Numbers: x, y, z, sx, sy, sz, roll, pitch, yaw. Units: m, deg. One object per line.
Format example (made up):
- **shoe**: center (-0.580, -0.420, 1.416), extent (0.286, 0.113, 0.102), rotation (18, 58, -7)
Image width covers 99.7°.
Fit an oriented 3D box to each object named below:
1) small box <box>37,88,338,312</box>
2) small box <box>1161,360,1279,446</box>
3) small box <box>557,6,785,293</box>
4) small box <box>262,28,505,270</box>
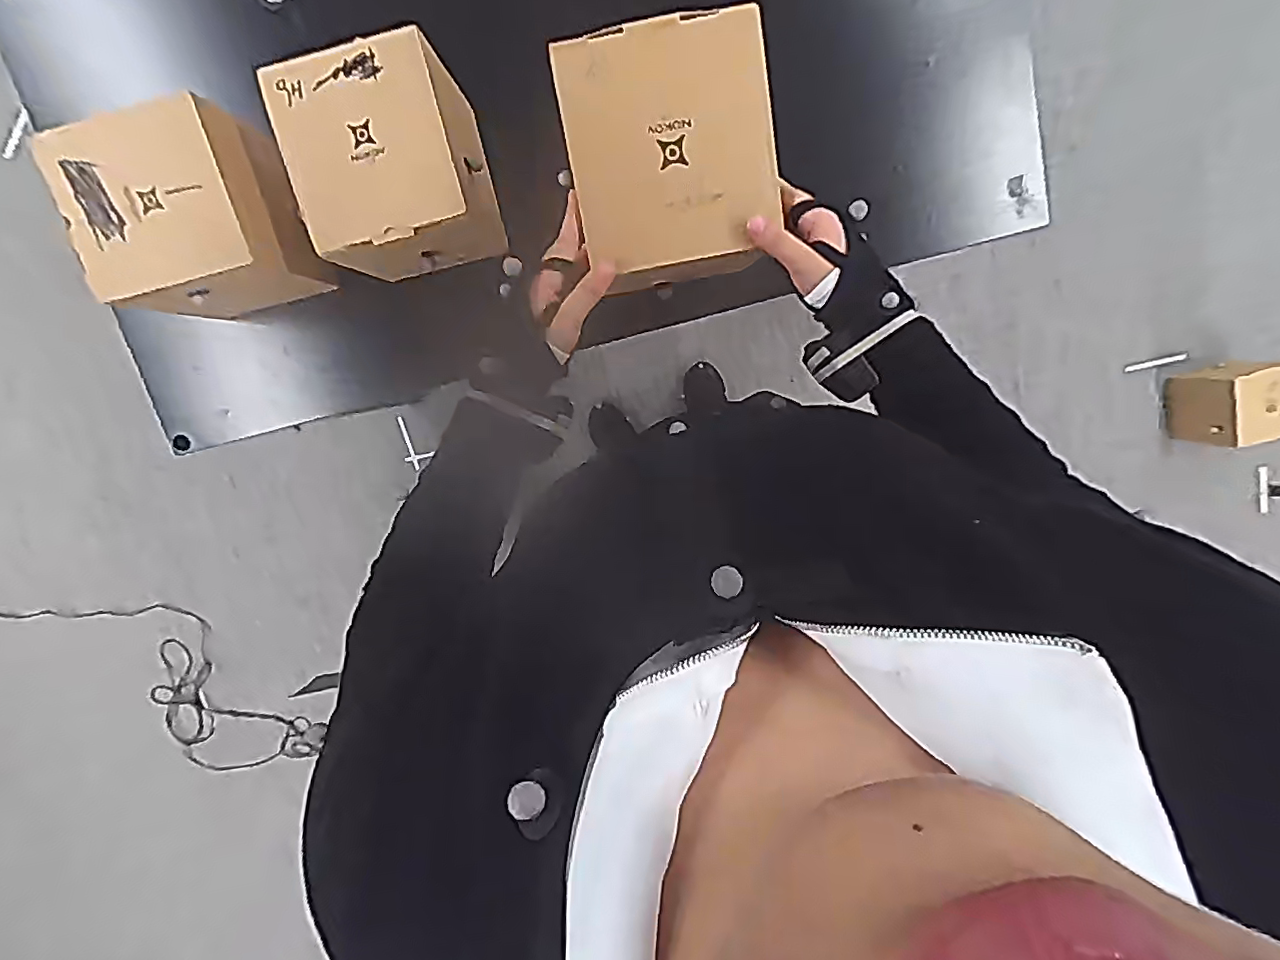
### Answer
- **small box**: center (-0.495, -0.301, 0.624), extent (0.179, 0.176, 0.168), rotation (-14, 102, 3)
- **small box**: center (1.478, -0.199, 1.367), extent (0.168, 0.176, 0.179), rotation (-15, 101, 3)
- **small box**: center (0.025, -0.288, 0.514), extent (0.168, 0.176, 0.179), rotation (-11, 105, 1)
- **small box**: center (-0.268, -0.349, 0.613), extent (0.168, 0.176, 0.179), rotation (-13, 102, 3)
